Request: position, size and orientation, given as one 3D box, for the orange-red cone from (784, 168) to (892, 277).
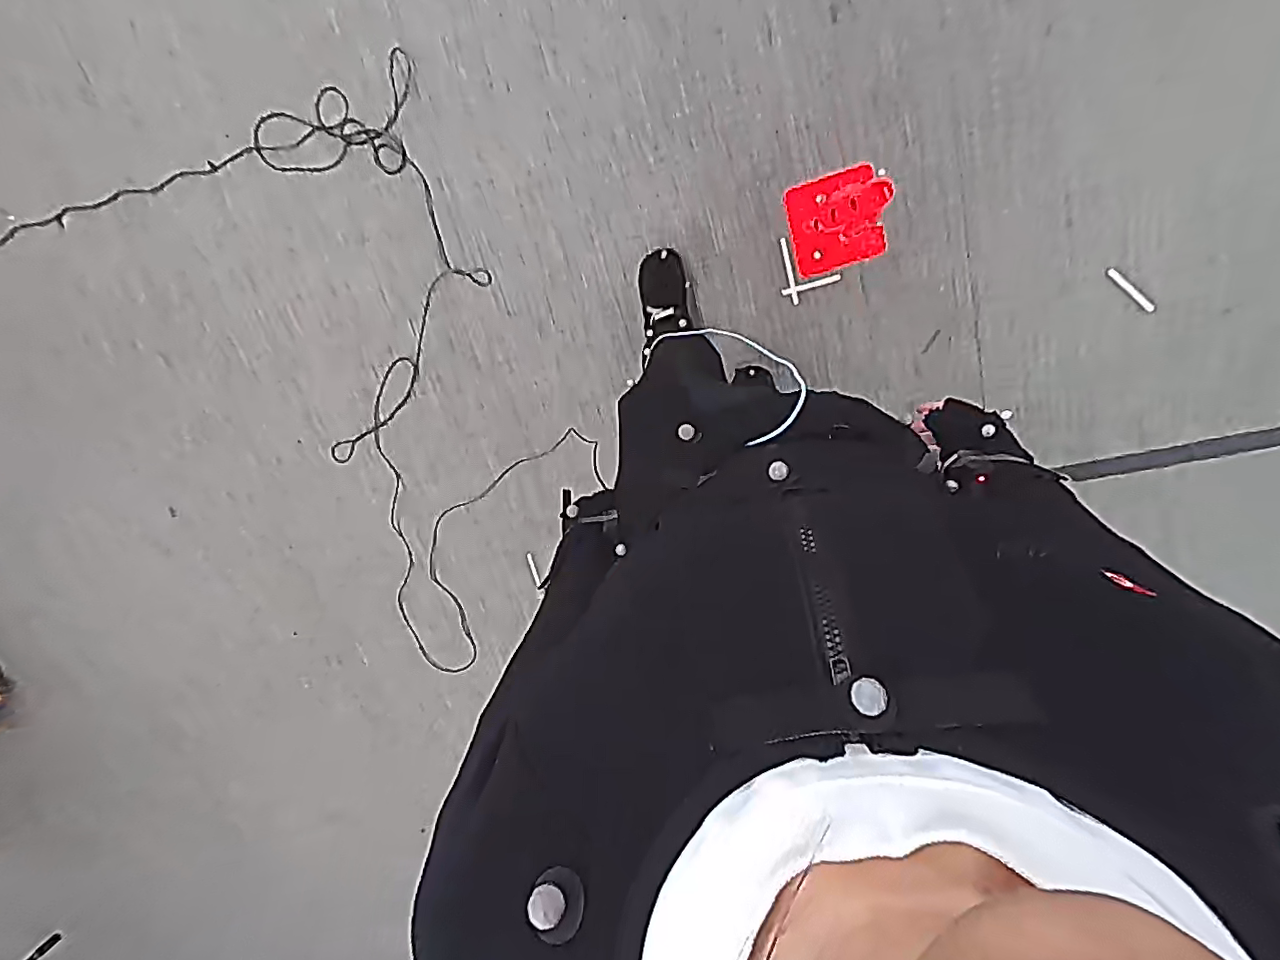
[{"bbox_3d":[0.423,-0.531,1.068,0.199,0.360,0.198,-13,106,9],"label":"orange-red cone"}]
